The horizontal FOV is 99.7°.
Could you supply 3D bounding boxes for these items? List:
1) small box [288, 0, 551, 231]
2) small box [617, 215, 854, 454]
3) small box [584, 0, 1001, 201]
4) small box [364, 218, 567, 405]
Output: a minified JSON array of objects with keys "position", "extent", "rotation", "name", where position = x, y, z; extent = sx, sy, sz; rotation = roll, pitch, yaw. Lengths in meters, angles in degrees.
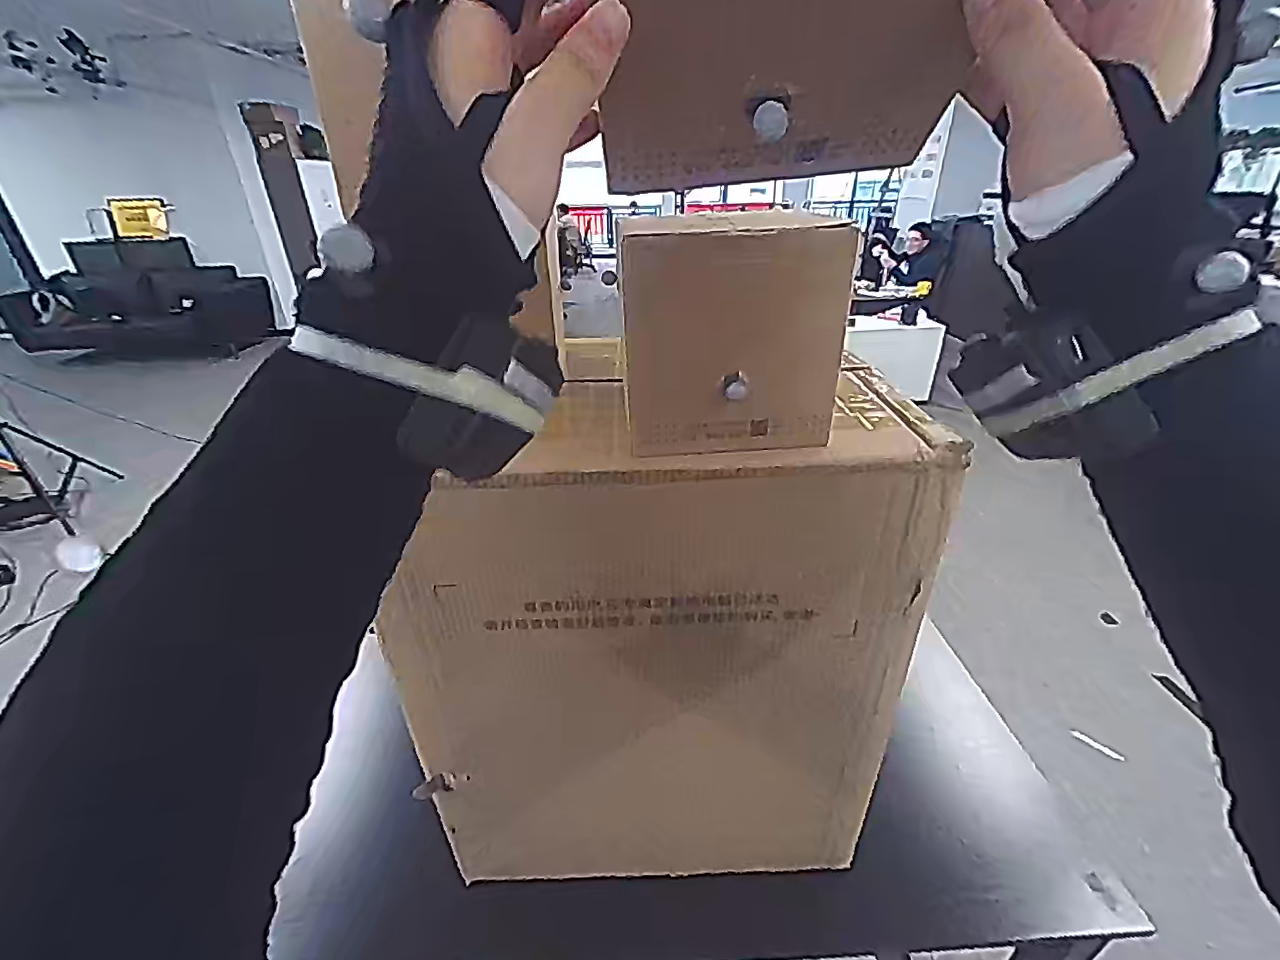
[{"position":[-0.176,-0.326,0.502],"extent":[0.168,0.176,0.179],"rotation":[-3,29,-3],"name":"small box"},{"position":[0.065,-0.135,0.480],"extent":[0.168,0.176,0.179],"rotation":[-4,30,-2],"name":"small box"},{"position":[0.054,-0.259,0.236],"extent":[0.168,0.179,0.176],"rotation":[-6,-13,1],"name":"small box"},{"position":[-0.171,-0.189,0.592],"extent":[0.168,0.176,0.179],"rotation":[-4,29,-4],"name":"small box"}]
